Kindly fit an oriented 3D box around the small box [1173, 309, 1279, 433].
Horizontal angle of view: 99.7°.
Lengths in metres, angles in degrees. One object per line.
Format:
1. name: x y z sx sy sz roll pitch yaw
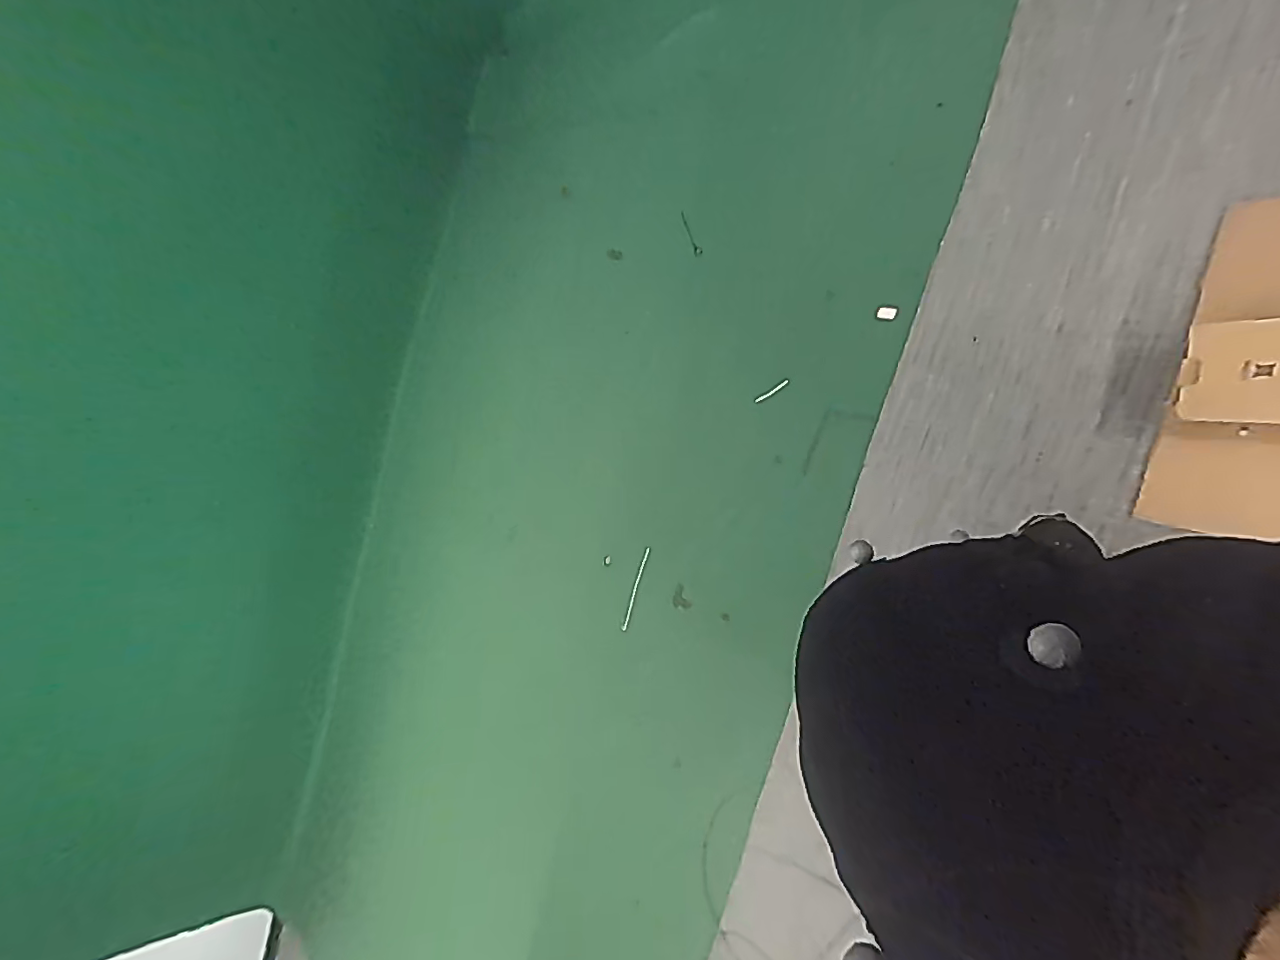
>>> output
1. small box: 1.012 -0.172 0.890 0.179 0.176 0.168 10 91 44
